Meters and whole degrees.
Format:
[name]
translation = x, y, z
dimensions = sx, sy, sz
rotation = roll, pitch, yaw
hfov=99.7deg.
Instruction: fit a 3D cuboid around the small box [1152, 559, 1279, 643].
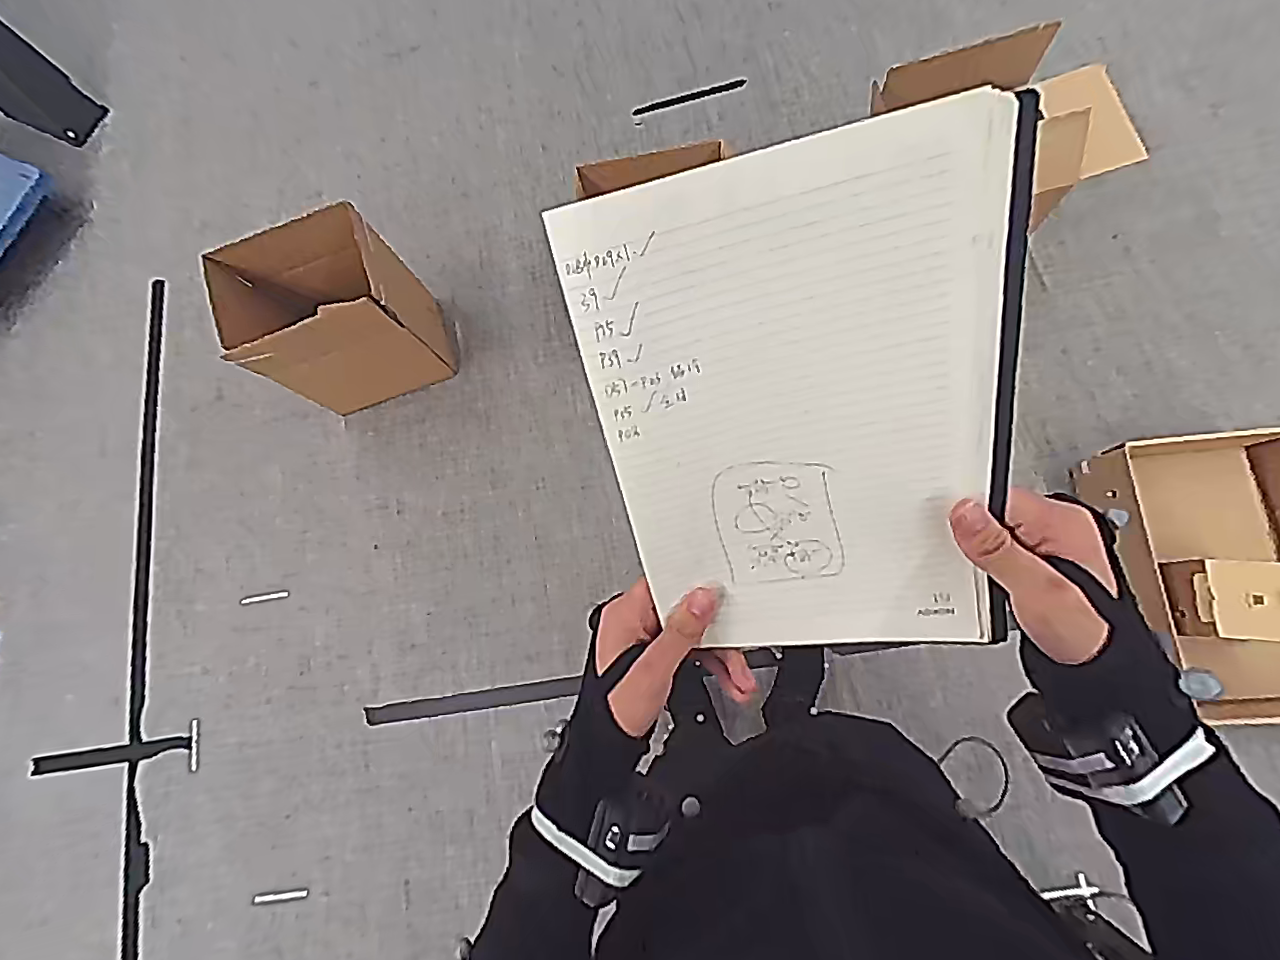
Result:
[small box]
translation = 1.293, 0.271, 1.201
dimensions = 0.179, 0.176, 0.168
rotation = 2, 77, 8
